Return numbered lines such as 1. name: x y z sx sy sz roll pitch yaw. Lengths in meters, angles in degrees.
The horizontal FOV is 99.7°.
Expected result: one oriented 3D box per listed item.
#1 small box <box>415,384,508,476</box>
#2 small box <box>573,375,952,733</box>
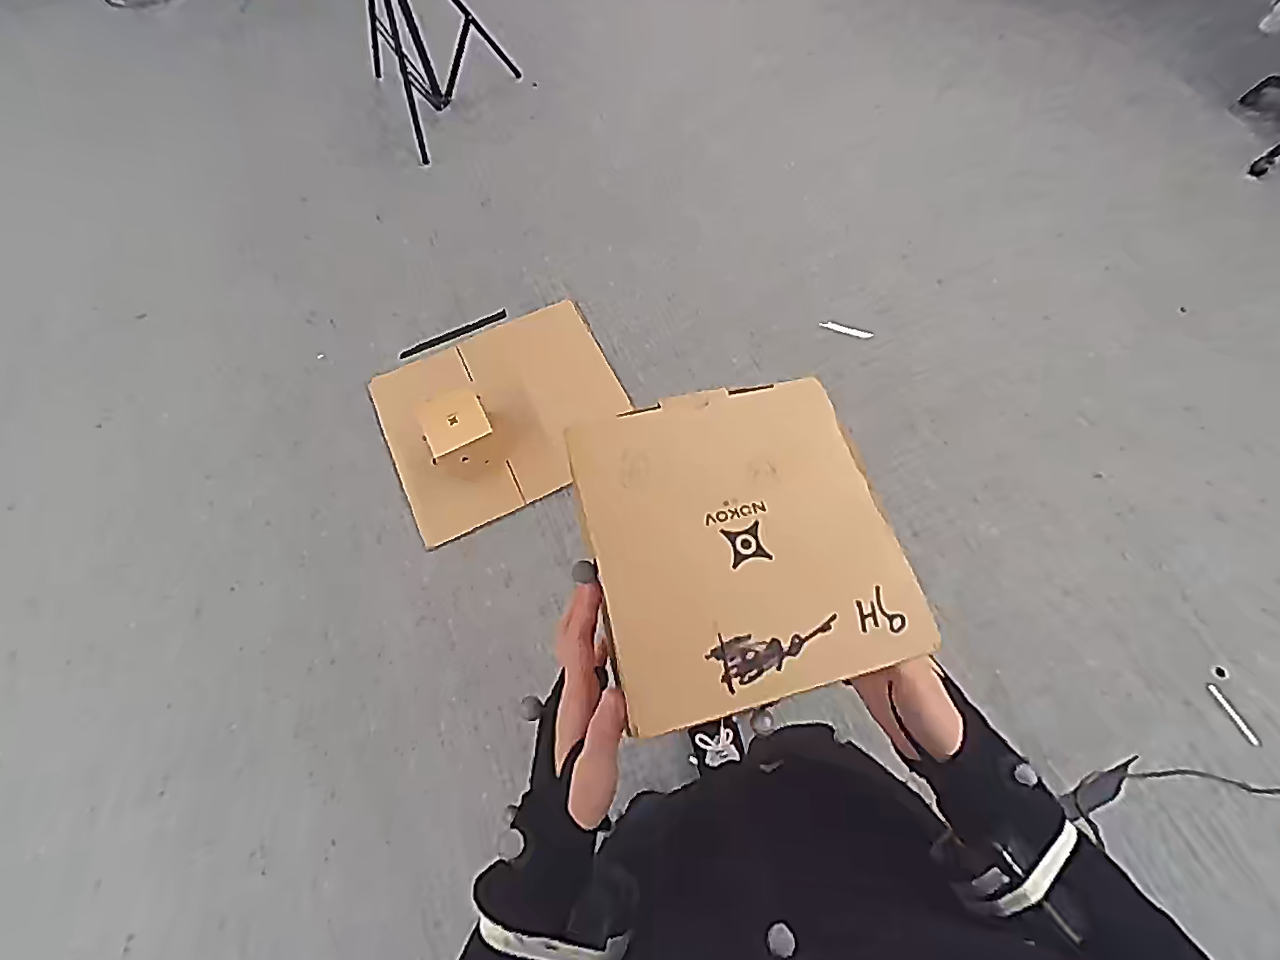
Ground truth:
1. small box: -0.491 -0.130 1.509 0.168 0.176 0.179 -27 70 -8
2. small box: 0.055 0.060 0.366 0.168 0.176 0.179 -13 67 -8
